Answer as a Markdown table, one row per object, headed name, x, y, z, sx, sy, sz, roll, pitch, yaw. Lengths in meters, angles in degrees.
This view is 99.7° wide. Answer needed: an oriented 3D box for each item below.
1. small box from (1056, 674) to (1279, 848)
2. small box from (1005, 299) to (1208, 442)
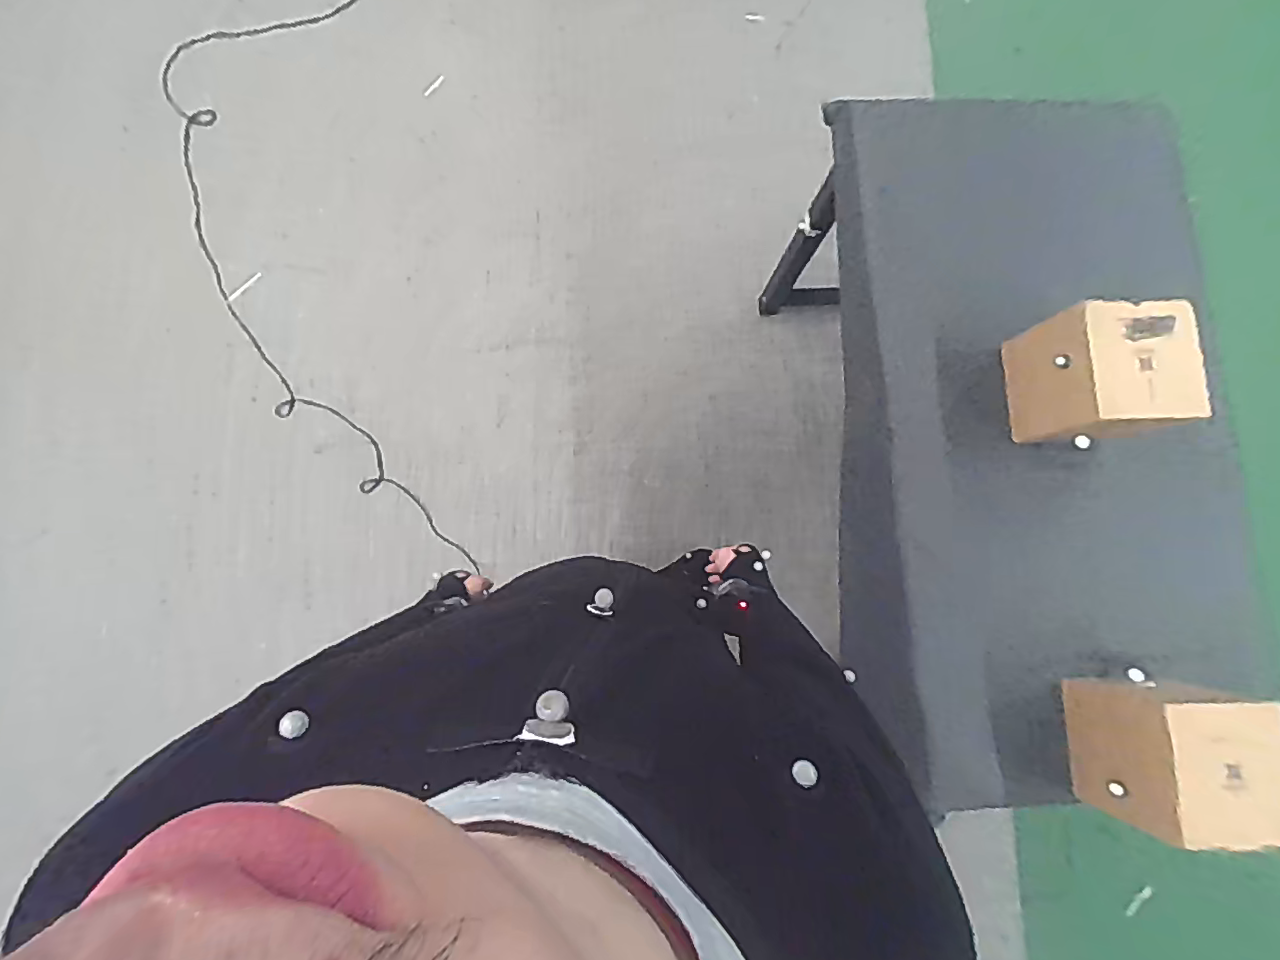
| name | x | y | z | sx | sy | sz | roll | pitch | yaw |
| --- | --- | --- | --- | --- | --- | --- | --- | --- | --- |
| small box | 0.739 | 0.384 | 0.767 | 0.168 | 0.176 | 0.179 | 0 | 81 | -4 |
| small box | 0.703 | -0.161 | 0.838 | 0.168 | 0.176 | 0.179 | -1 | 83 | -2 |
